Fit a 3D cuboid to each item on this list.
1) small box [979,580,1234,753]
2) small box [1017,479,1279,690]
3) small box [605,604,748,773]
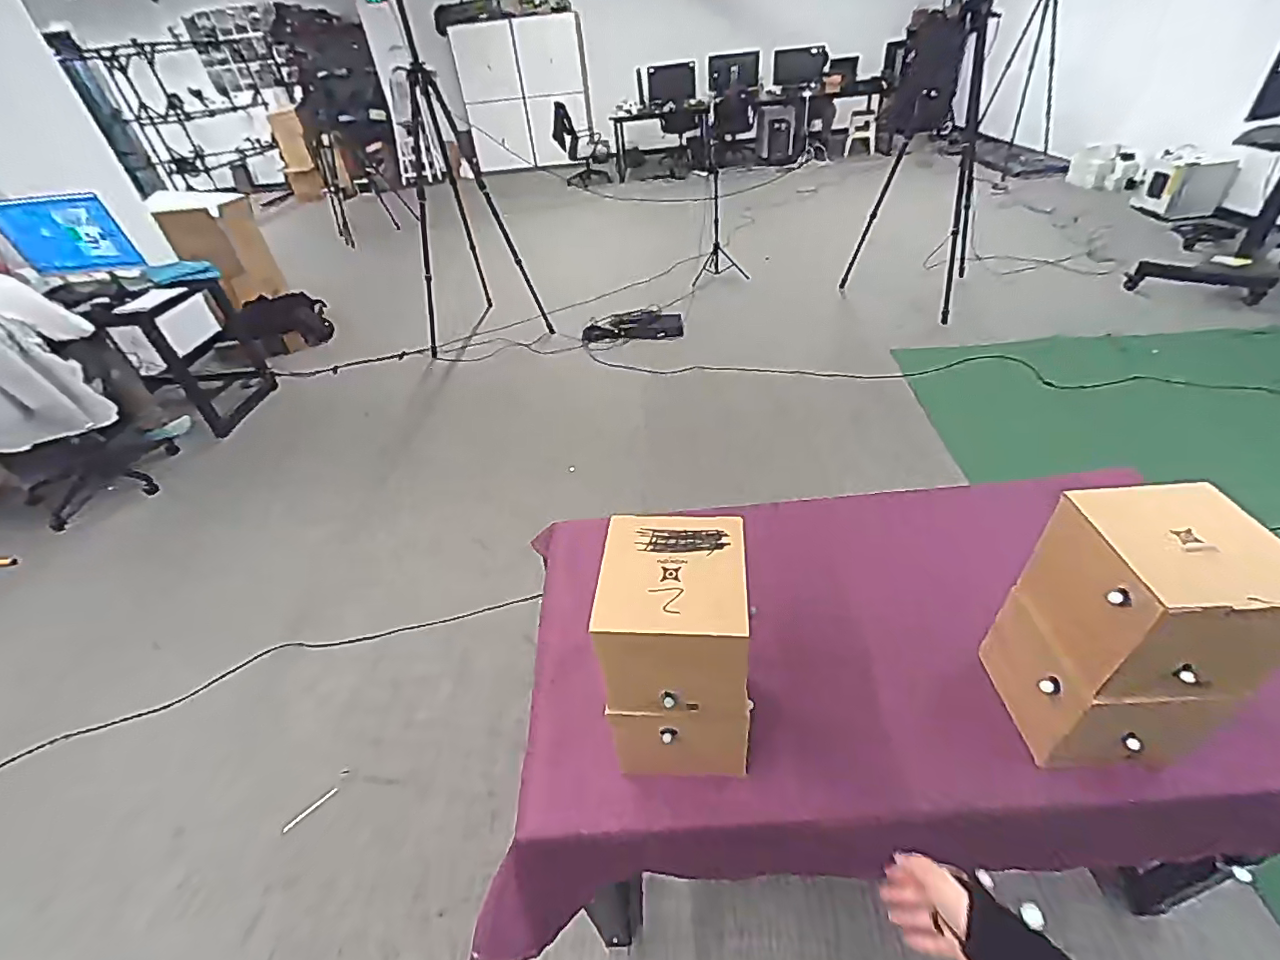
[{"bbox_3d":[0.599,0.251,0.729,0.168,0.176,0.179,-4,39,3],"label":"small box"},{"bbox_3d":[0.588,0.120,0.631,0.168,0.176,0.179,-4,41,3],"label":"small box"},{"bbox_3d":[0.055,0.293,0.761,0.179,0.176,0.168,-2,40,5],"label":"small box"}]
